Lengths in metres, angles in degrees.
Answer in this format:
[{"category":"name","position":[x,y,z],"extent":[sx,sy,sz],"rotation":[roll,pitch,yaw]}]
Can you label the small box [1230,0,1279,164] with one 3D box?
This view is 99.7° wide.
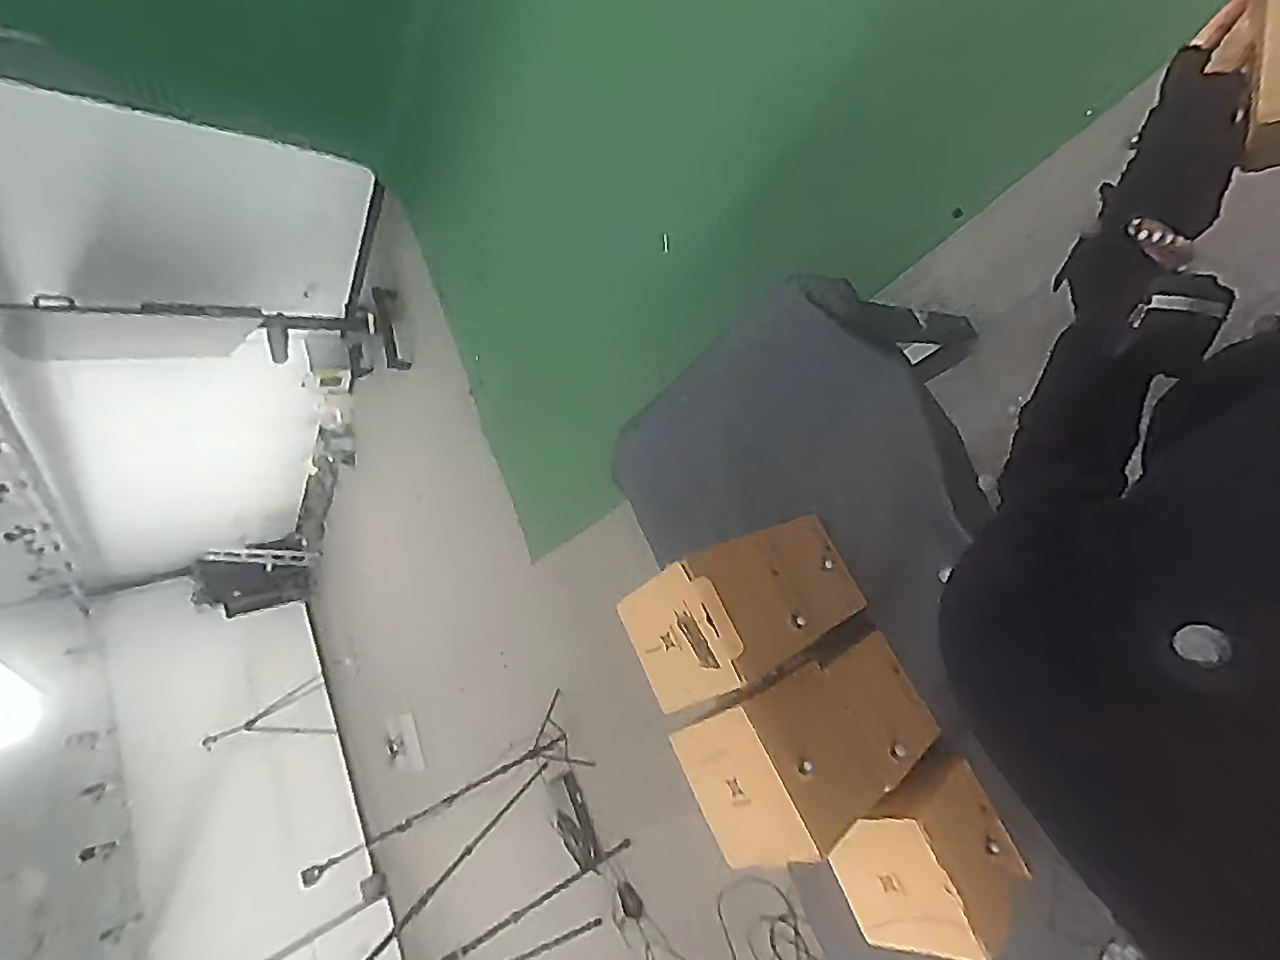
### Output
[{"category":"small box","position":[0.458,-0.297,0.289],"extent":[0.179,0.176,0.168],"rotation":[5,106,44]}]
